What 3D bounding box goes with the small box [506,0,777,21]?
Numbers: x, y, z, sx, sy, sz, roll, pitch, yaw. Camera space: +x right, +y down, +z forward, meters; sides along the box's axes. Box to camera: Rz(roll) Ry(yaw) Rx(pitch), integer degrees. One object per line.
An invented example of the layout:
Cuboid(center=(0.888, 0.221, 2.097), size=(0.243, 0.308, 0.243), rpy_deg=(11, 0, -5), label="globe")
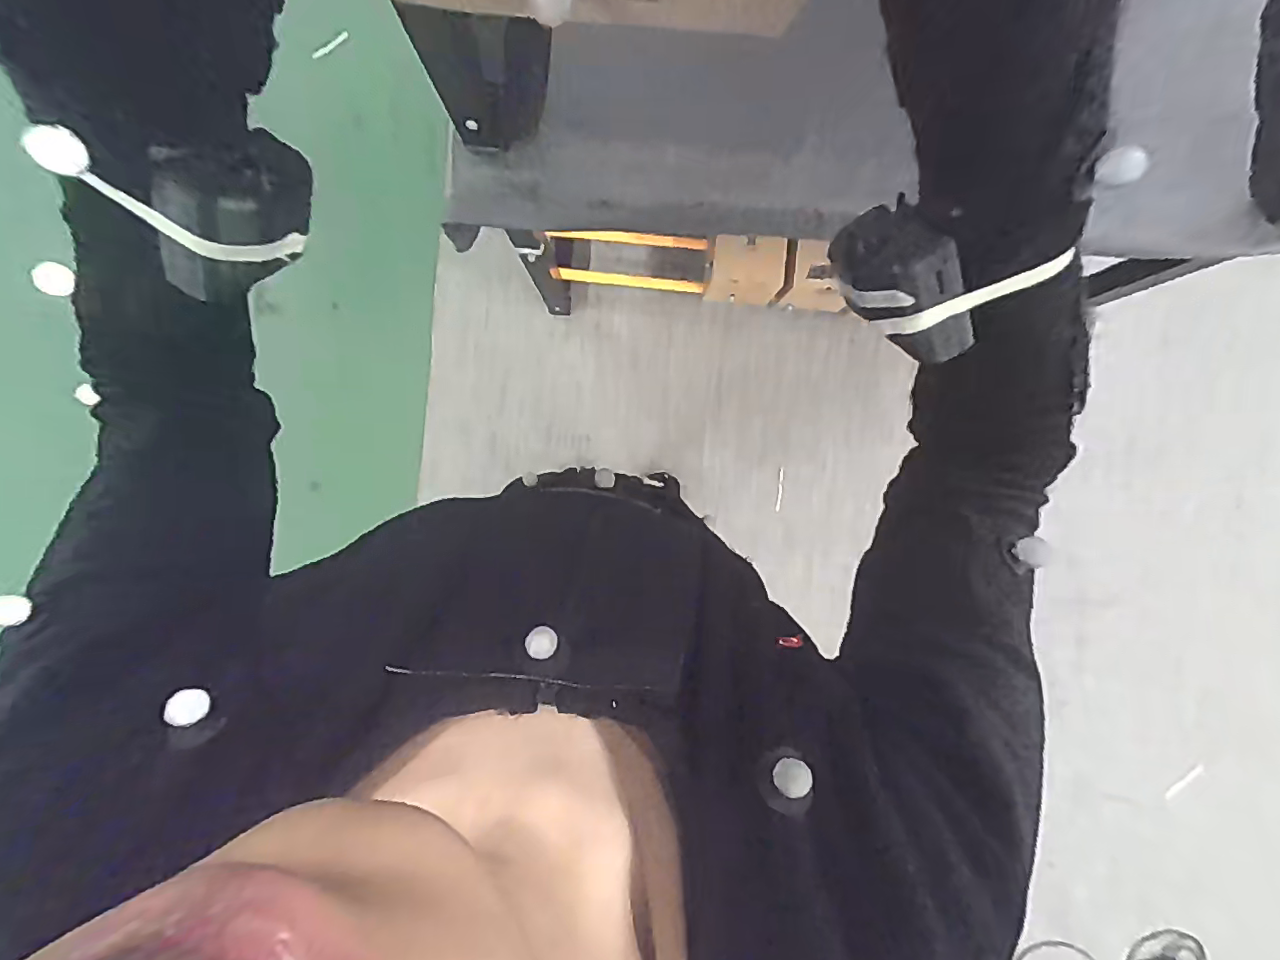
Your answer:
Cuboid(center=(-0.016, -0.263, 0.128), size=(0.168, 0.176, 0.179), rpy_deg=(3, 104, 0), label="small box")
